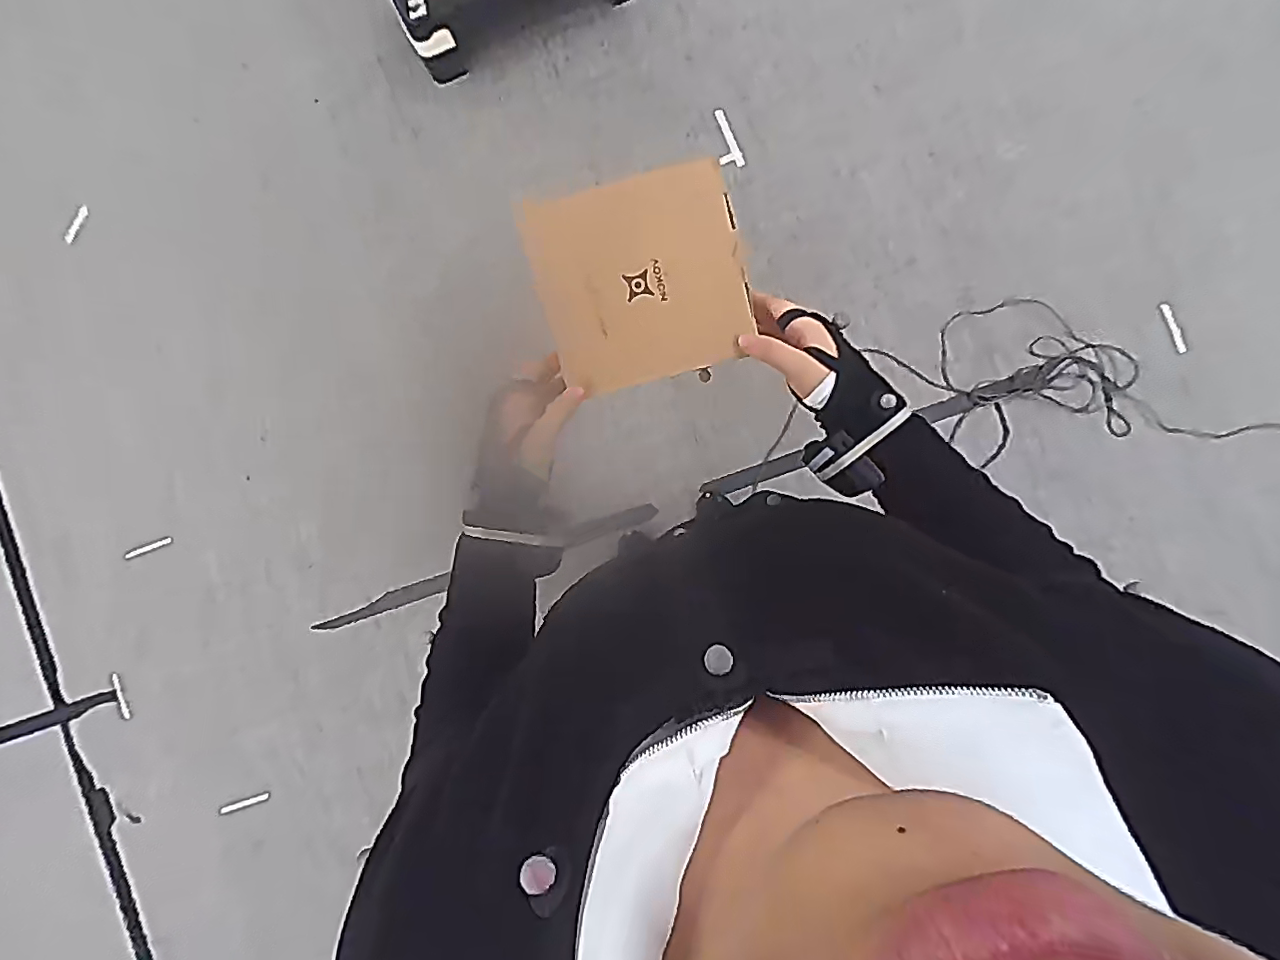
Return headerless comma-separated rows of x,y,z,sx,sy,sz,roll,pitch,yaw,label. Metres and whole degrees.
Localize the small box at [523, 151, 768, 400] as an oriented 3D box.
0.005,-0.184,0.533,0.179,0.176,0.168,-16,100,2,small box
